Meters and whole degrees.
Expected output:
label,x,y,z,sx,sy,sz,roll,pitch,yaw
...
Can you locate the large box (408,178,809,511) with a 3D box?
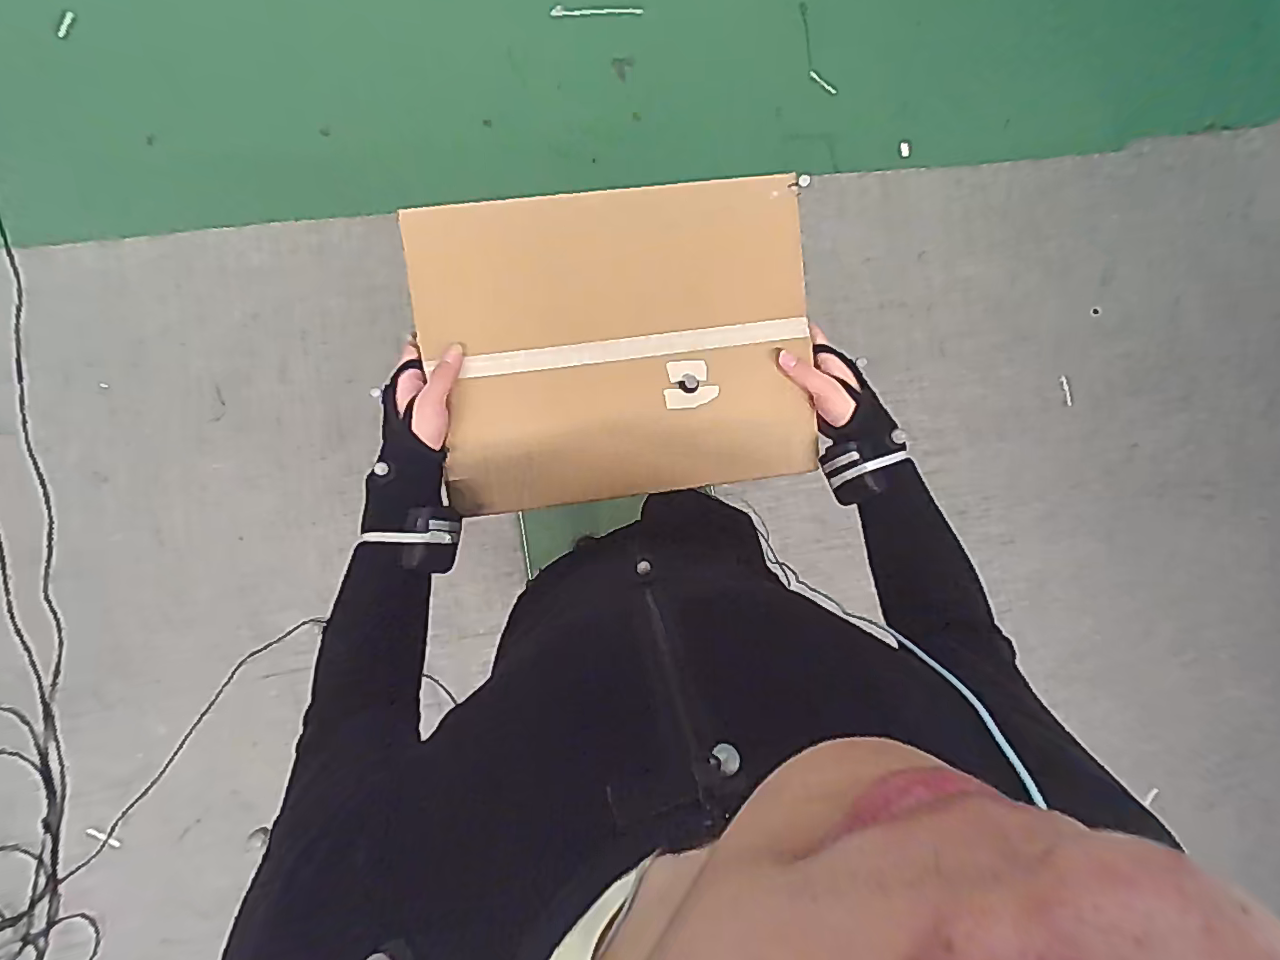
label,x,y,z,sx,sy,sz,roll,pitch,yaw
large box,-0.037,-0.160,0.728,0.408,0.320,0.320,-8,98,-4
